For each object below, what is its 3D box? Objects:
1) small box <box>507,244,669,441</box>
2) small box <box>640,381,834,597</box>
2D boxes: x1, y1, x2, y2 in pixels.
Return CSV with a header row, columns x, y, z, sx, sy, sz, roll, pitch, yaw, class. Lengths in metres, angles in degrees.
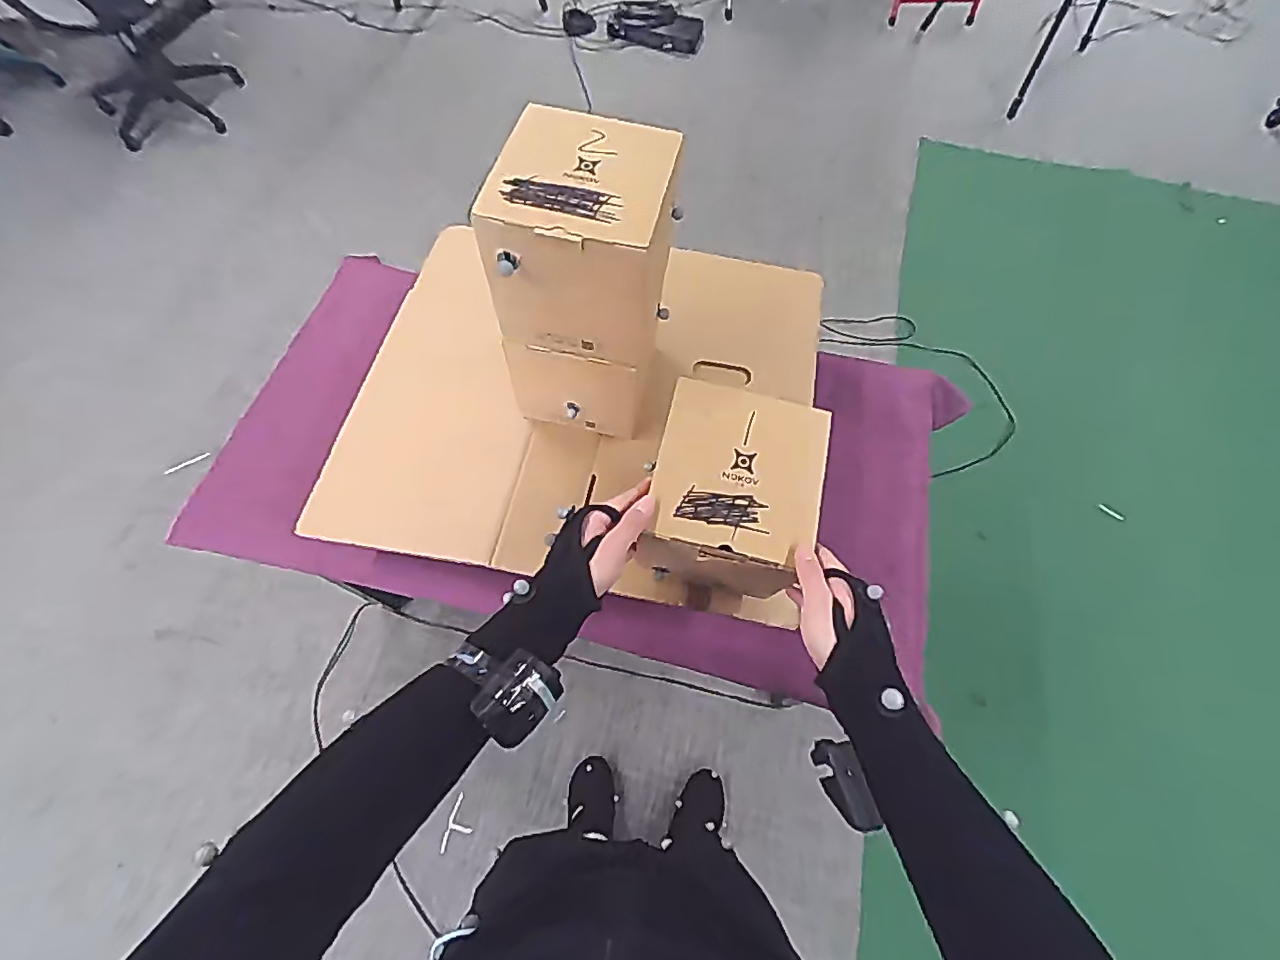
x,y,z,sx,sy,sz,roll,pitch,yaw,class
-0.065,-0.180,0.734,0.168,0.176,0.179,12,66,3,small box
0.098,0.021,0.606,0.168,0.176,0.179,14,68,2,small box
